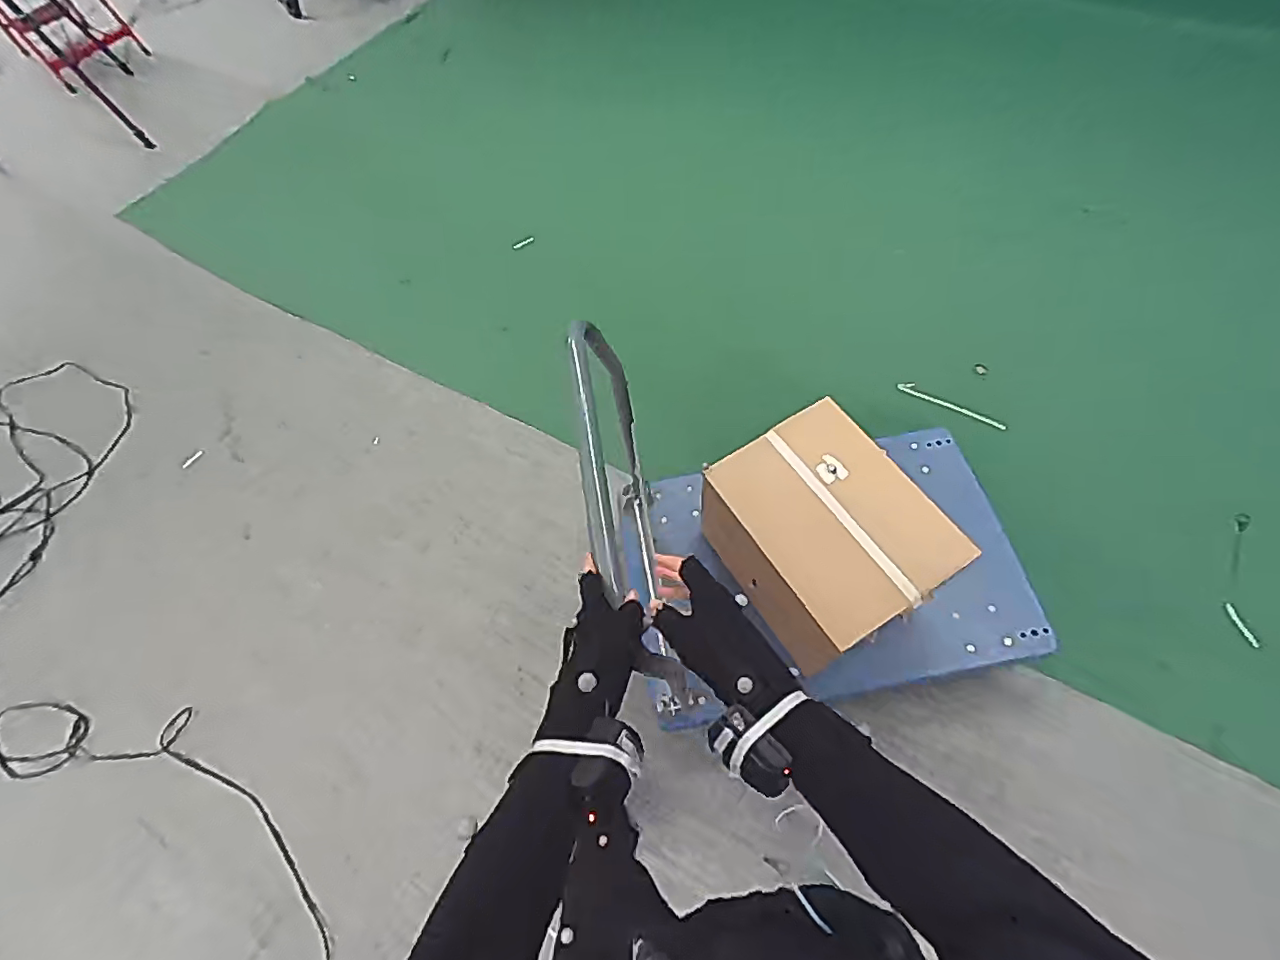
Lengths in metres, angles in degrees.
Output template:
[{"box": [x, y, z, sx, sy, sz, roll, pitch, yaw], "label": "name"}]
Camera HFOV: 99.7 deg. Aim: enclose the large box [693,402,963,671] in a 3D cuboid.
[{"box": [0.353, 0.125, 1.134, 0.320, 0.320, 0.408, -30, 63, -10], "label": "large box"}]
